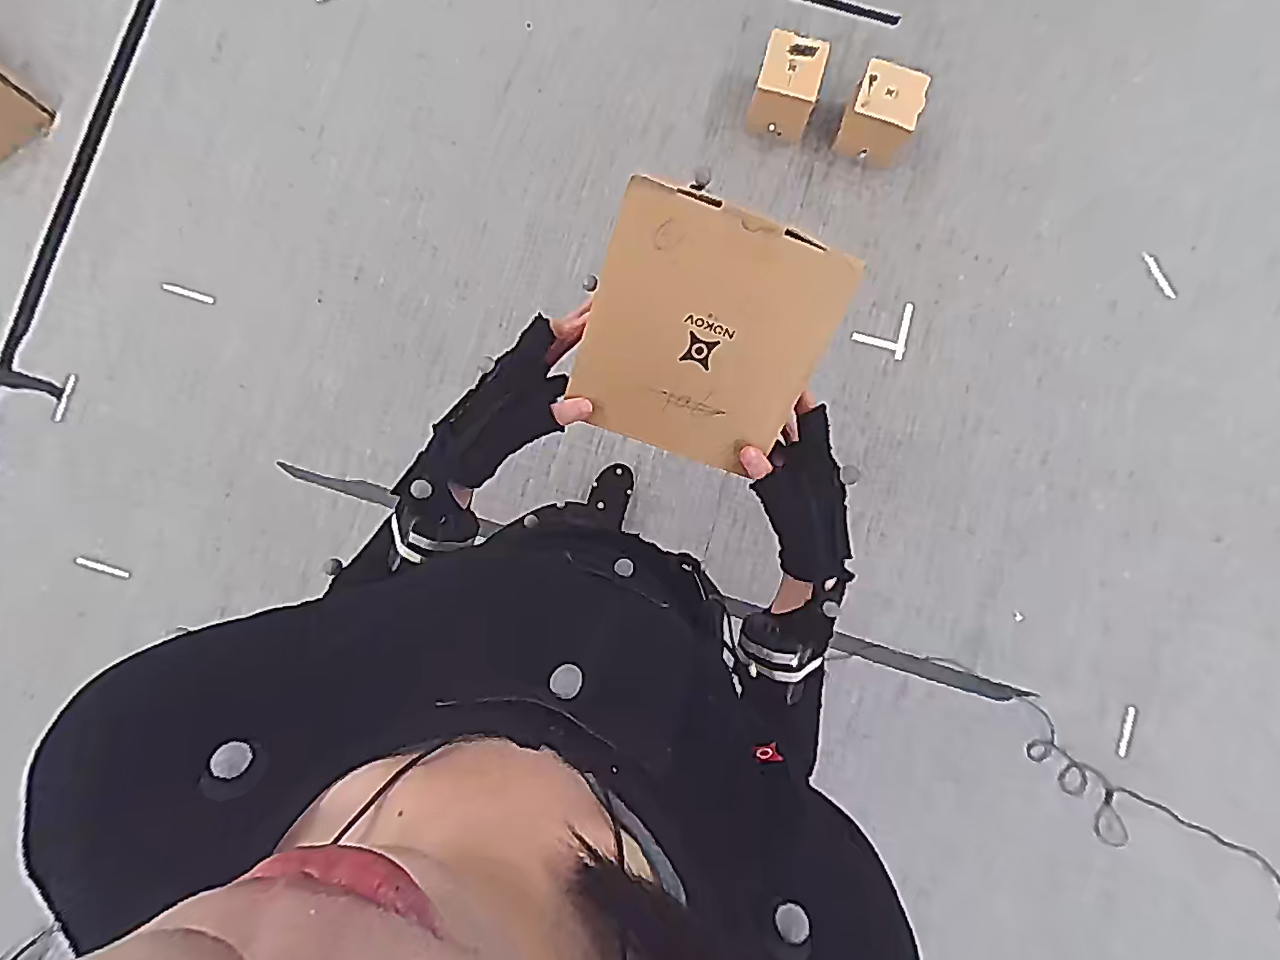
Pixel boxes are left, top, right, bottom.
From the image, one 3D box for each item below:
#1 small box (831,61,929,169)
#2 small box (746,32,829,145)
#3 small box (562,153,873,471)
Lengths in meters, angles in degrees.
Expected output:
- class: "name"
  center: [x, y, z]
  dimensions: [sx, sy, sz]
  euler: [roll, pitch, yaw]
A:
- class: "small box"
  center: [0.678, -1.030, 1.544]
  dimensions: [0.179, 0.176, 0.168]
  euler: [19, 86, -1]
- class: "small box"
  center: [0.414, -1.109, 1.543]
  dimensions: [0.168, 0.176, 0.179]
  euler: [16, 87, 1]
- class: "small box"
  center: [0.050, -0.142, 0.443]
  dimensions: [0.168, 0.176, 0.179]
  euler: [19, 121, -7]
